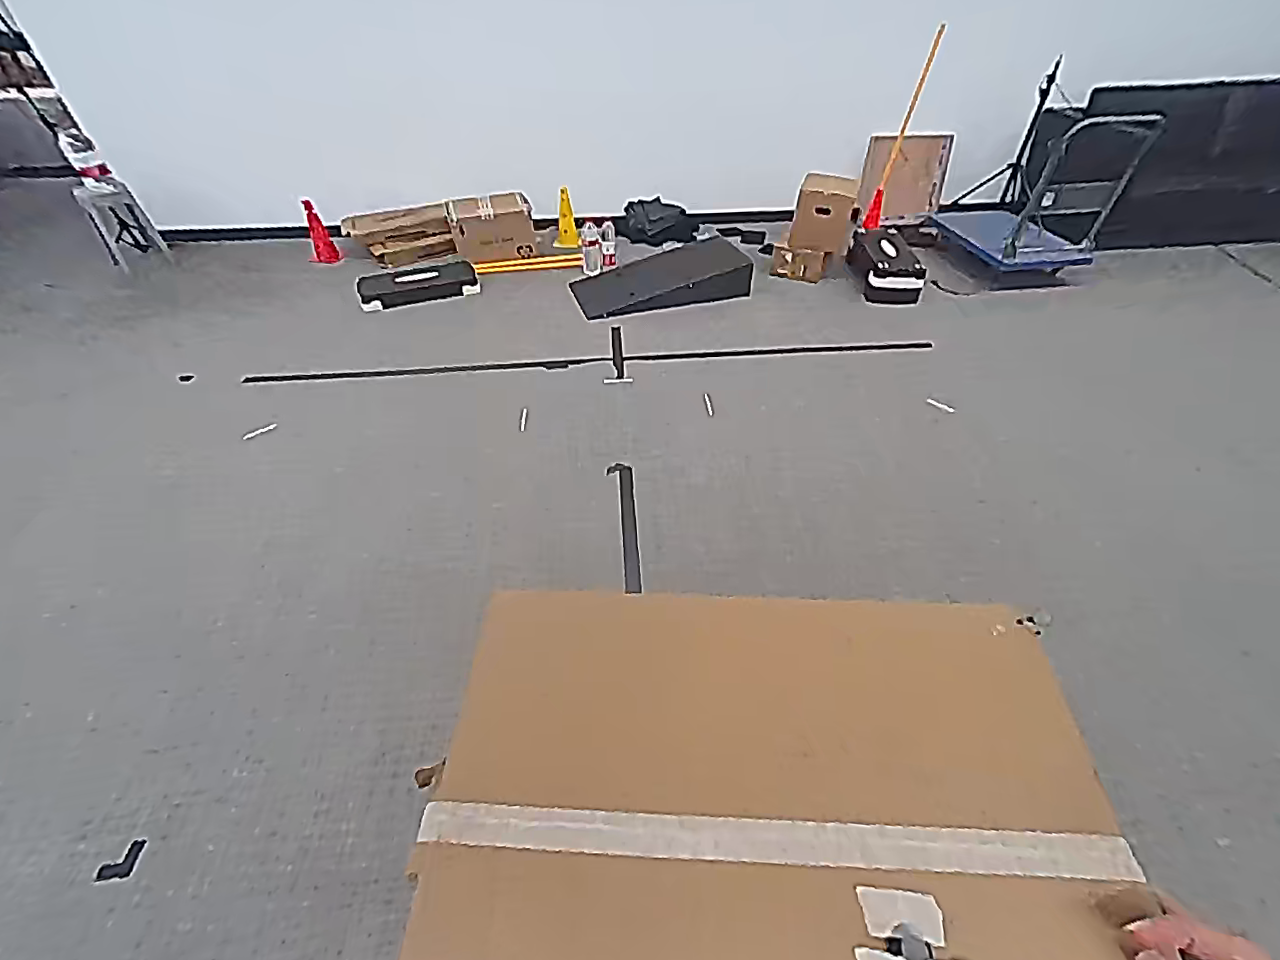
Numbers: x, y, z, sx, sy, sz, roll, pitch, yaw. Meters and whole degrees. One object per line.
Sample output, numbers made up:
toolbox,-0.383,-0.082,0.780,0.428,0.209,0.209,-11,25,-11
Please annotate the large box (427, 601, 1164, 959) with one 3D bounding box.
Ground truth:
large box,0.085,0.312,0.441,0.408,0.320,0.320,1,51,3
